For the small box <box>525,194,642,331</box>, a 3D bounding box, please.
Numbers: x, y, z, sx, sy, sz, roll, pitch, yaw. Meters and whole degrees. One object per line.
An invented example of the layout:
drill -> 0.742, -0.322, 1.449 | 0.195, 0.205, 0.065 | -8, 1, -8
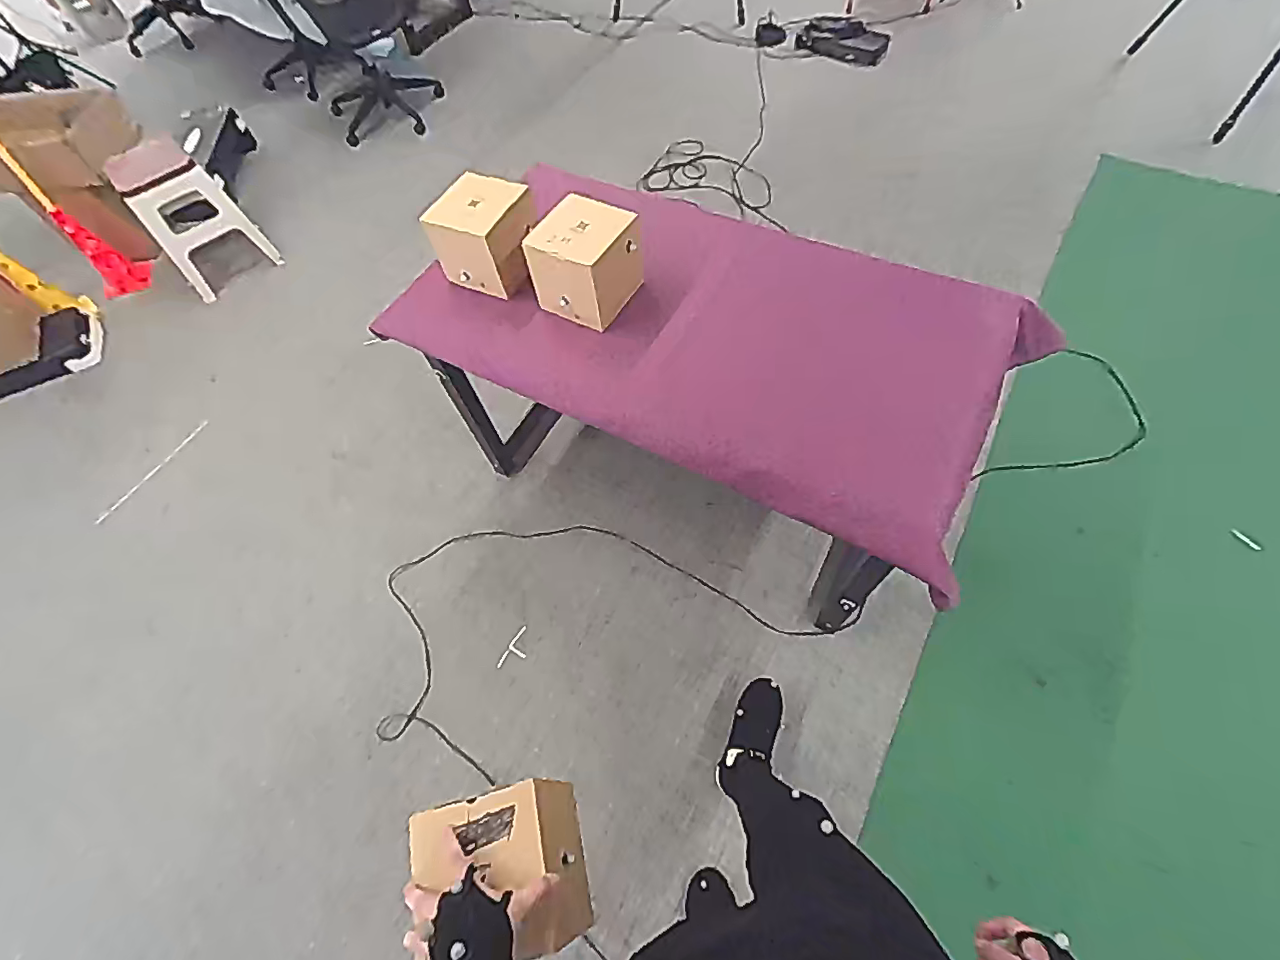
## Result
small box -> -0.107, -0.447, 1.120 | 0.168, 0.176, 0.179 | 26, 67, 18

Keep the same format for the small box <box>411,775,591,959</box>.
small box -> -0.174, 0.501, 0.698 | 0.168, 0.176, 0.179 | -18, 58, 3

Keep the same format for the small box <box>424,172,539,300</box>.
small box -> -0.331, -0.534, 1.189 | 0.168, 0.176, 0.179 | 21, 65, 16
